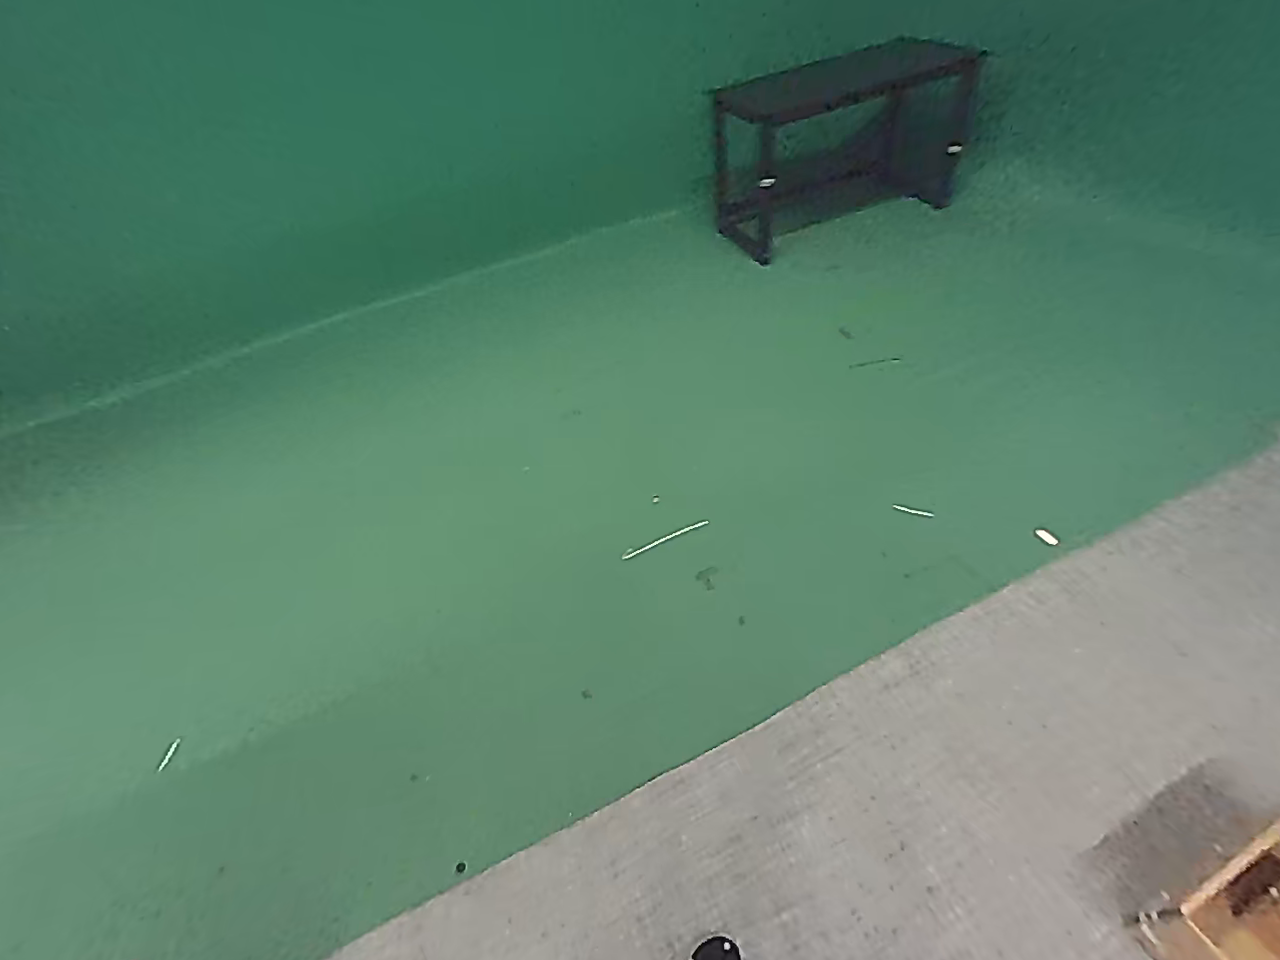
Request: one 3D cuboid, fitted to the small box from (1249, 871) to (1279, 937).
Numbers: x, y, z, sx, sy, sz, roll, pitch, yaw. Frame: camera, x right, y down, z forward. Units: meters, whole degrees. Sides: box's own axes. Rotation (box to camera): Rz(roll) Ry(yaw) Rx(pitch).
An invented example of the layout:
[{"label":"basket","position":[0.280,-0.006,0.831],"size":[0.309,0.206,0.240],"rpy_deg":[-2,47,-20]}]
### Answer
[{"label":"small box","position":[1.229,0.761,0.920],"size":[0.168,0.176,0.179],"rpy_deg":[-30,51,-11]}]
